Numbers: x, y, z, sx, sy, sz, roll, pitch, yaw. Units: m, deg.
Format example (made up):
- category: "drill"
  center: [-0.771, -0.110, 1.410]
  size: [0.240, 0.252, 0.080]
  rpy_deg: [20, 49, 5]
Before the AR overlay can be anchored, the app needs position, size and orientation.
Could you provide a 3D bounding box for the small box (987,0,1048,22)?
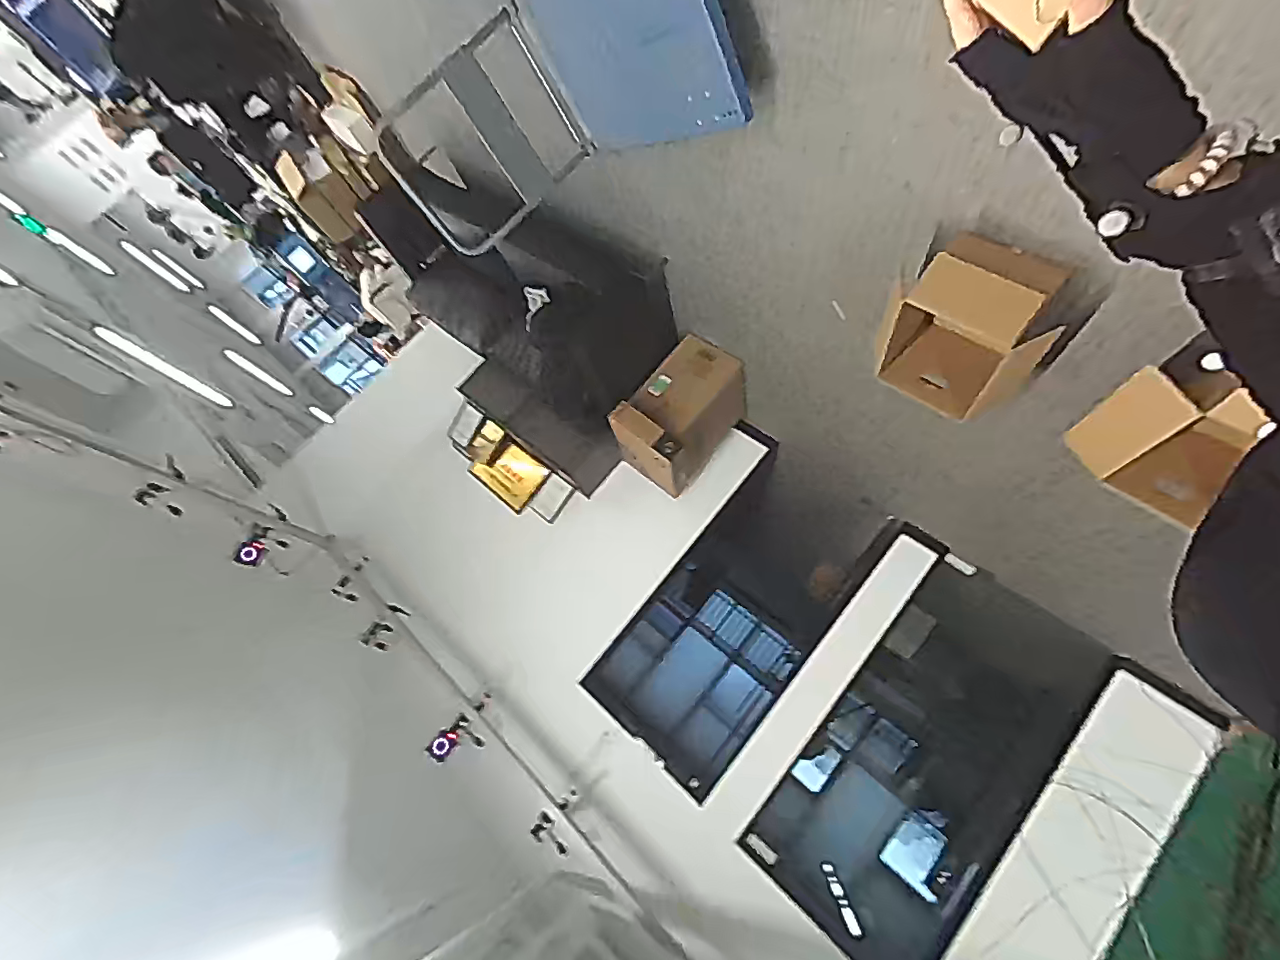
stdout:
- category: "small box"
  center: [0.229, -0.384, 0.271]
  size: [0.179, 0.176, 0.168]
  rpy_deg: [47, 150, 4]
